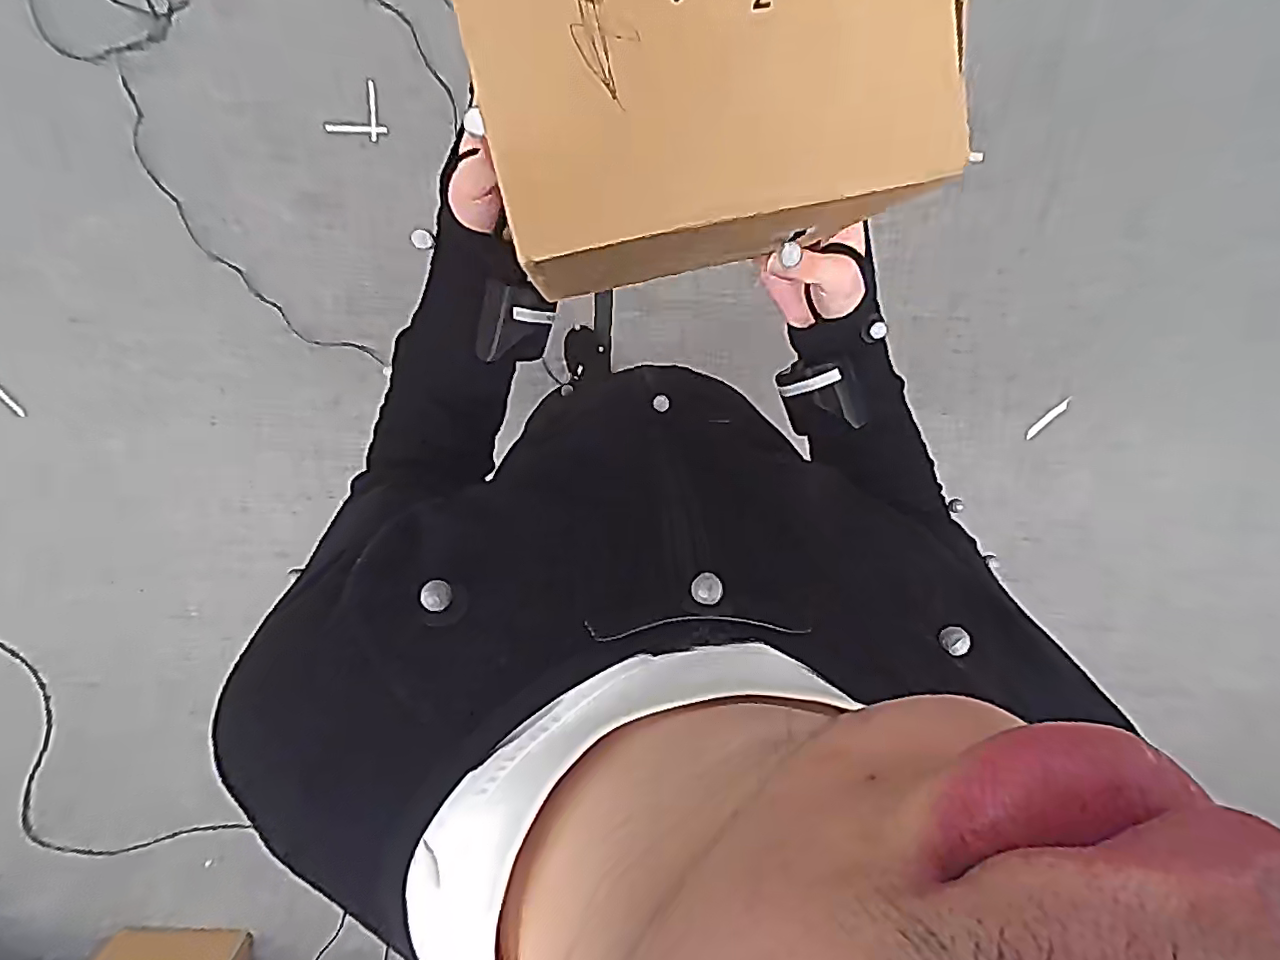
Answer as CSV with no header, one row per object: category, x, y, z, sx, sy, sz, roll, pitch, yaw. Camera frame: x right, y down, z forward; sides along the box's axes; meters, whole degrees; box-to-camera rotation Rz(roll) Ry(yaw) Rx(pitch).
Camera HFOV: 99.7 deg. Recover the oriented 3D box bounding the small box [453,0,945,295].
small box,0.013,-0.199,0.268,0.179,0.176,0.168,-14,104,-2
